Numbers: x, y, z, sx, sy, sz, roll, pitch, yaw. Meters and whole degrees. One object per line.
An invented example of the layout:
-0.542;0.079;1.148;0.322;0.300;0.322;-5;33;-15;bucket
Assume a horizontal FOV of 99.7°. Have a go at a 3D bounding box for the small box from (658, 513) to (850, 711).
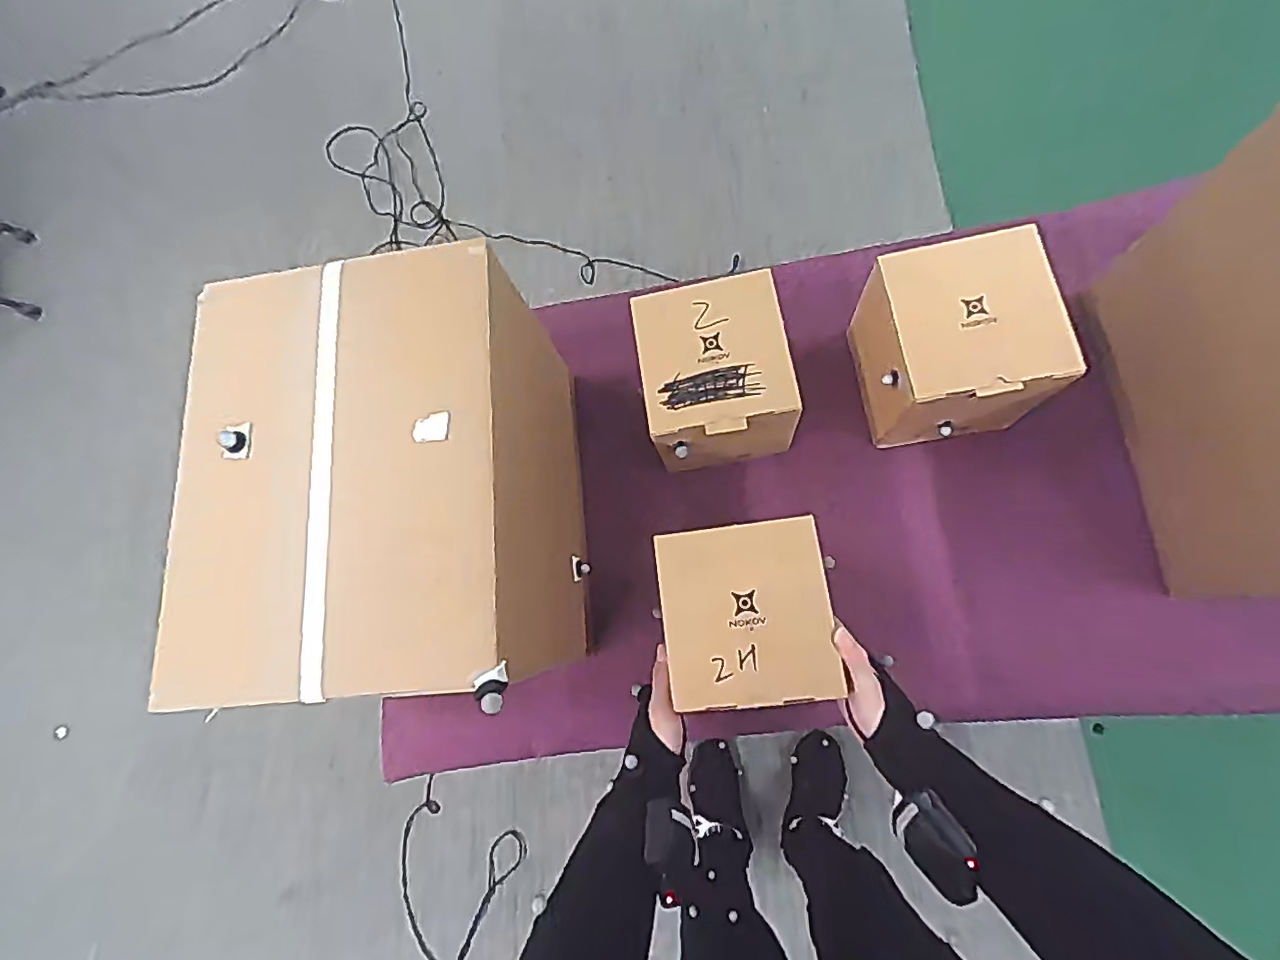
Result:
0.118;0.147;0.604;0.168;0.176;0.179;-9;74;8;small box
